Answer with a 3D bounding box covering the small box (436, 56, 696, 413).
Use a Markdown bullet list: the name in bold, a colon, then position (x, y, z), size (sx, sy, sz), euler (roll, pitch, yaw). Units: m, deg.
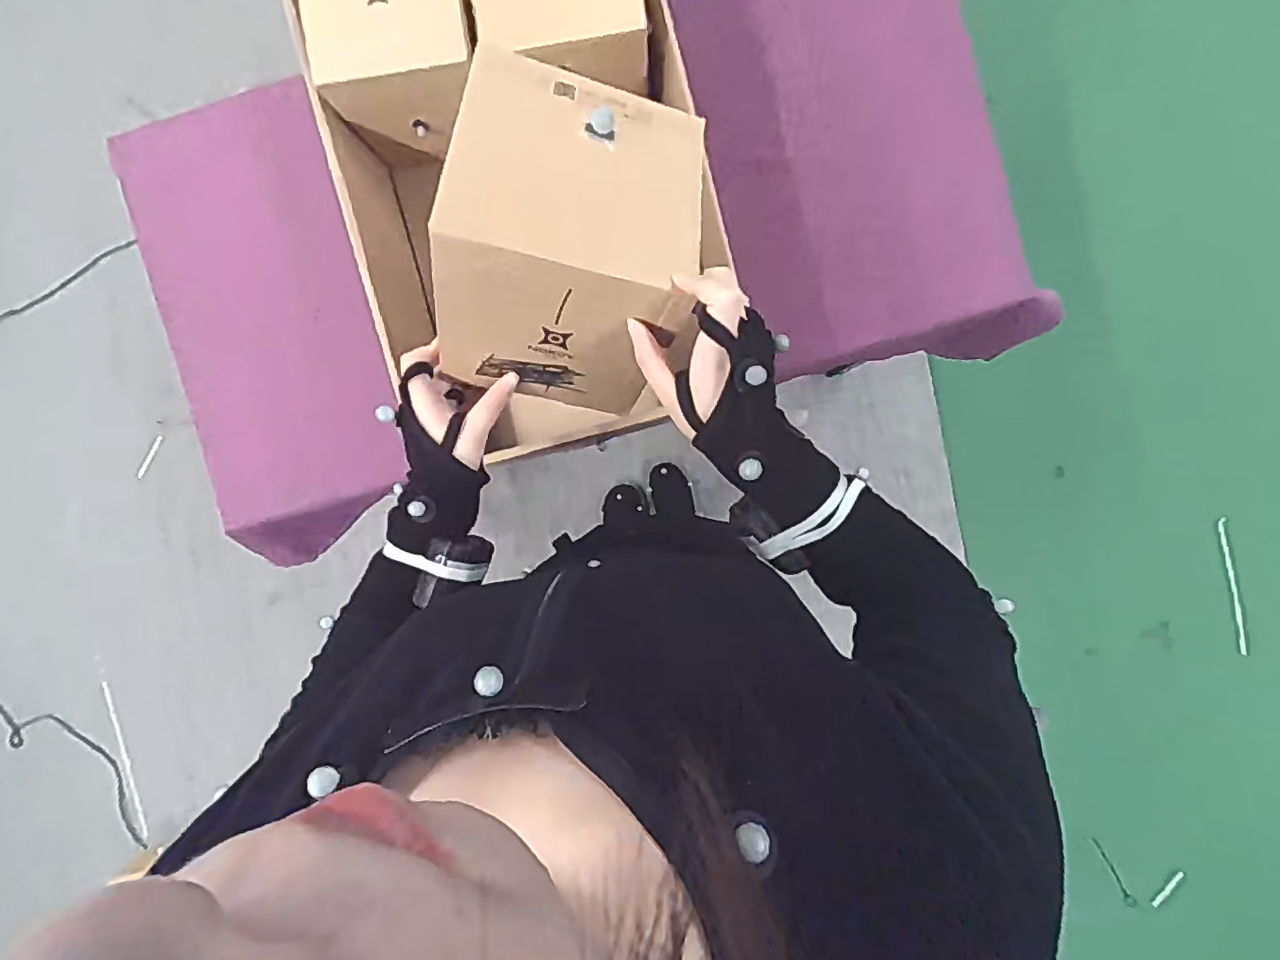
- **small box**: position (-0.058, -0.180, 0.439), size (0.168, 0.179, 0.176), euler (10, 68, -13)
